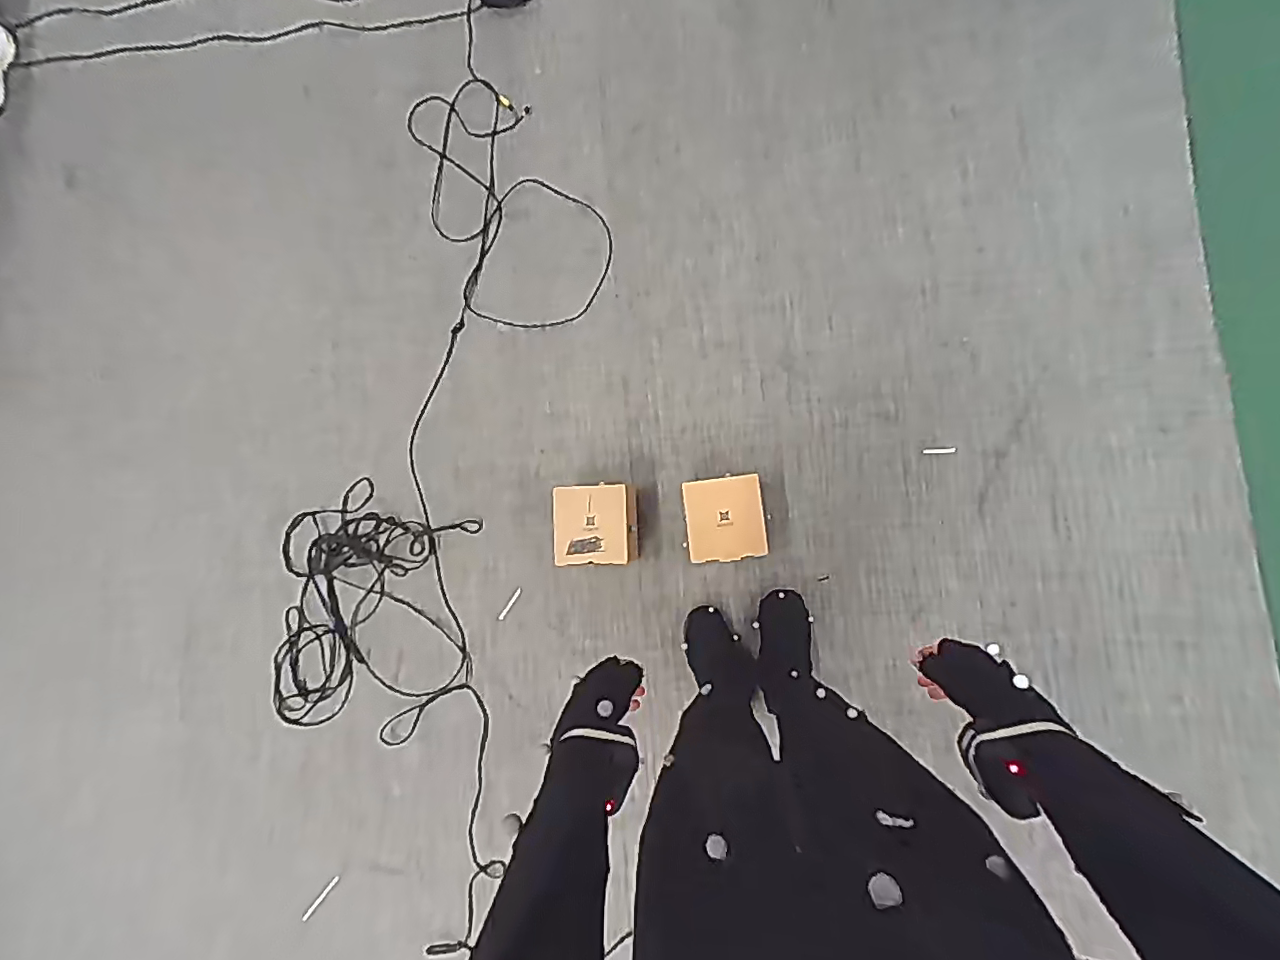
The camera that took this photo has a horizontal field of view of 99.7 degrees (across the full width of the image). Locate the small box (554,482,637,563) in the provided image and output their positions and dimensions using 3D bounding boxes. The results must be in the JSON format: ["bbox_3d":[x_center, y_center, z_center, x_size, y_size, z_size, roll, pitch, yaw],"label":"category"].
[{"bbox_3d":[-0.100,0.099,1.269,0.168,0.176,0.179,-2,85,7],"label":"small box"}]

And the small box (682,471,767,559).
[{"bbox_3d":[0.188,0.081,1.234,0.168,0.176,0.179,-7,86,7],"label":"small box"}]
